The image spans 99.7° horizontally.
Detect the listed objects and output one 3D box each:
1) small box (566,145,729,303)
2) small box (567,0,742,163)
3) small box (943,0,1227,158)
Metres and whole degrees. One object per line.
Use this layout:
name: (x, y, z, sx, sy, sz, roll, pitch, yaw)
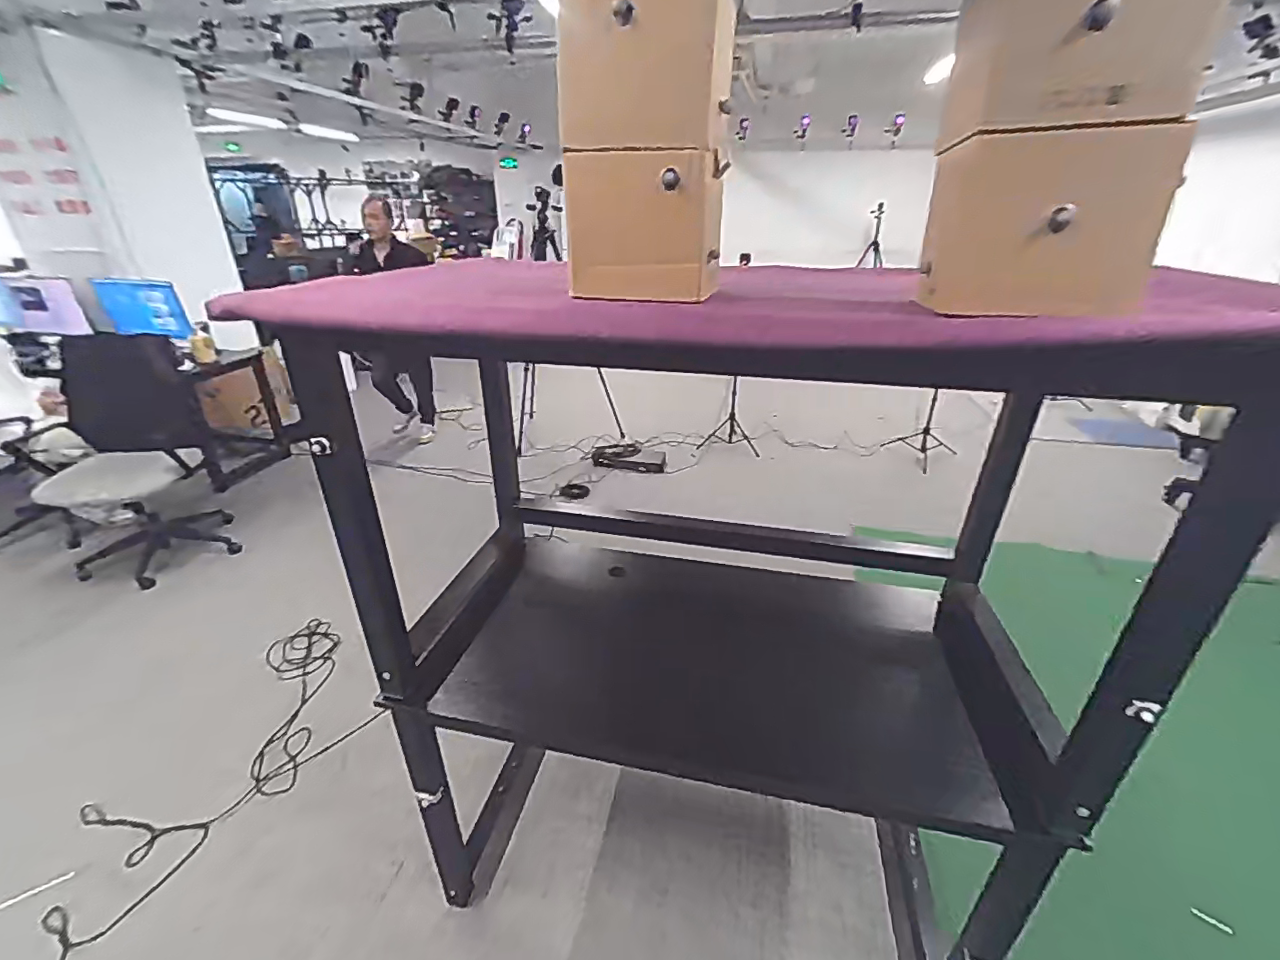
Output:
small box: (0.015, -0.329, 0.711, 0.179, 0.176, 0.168, 7, 26, 13)
small box: (0.019, -0.479, 0.645, 0.179, 0.176, 0.168, 8, 26, 12)
small box: (0.414, -0.421, 0.520, 0.168, 0.176, 0.179, 5, 25, 14)
